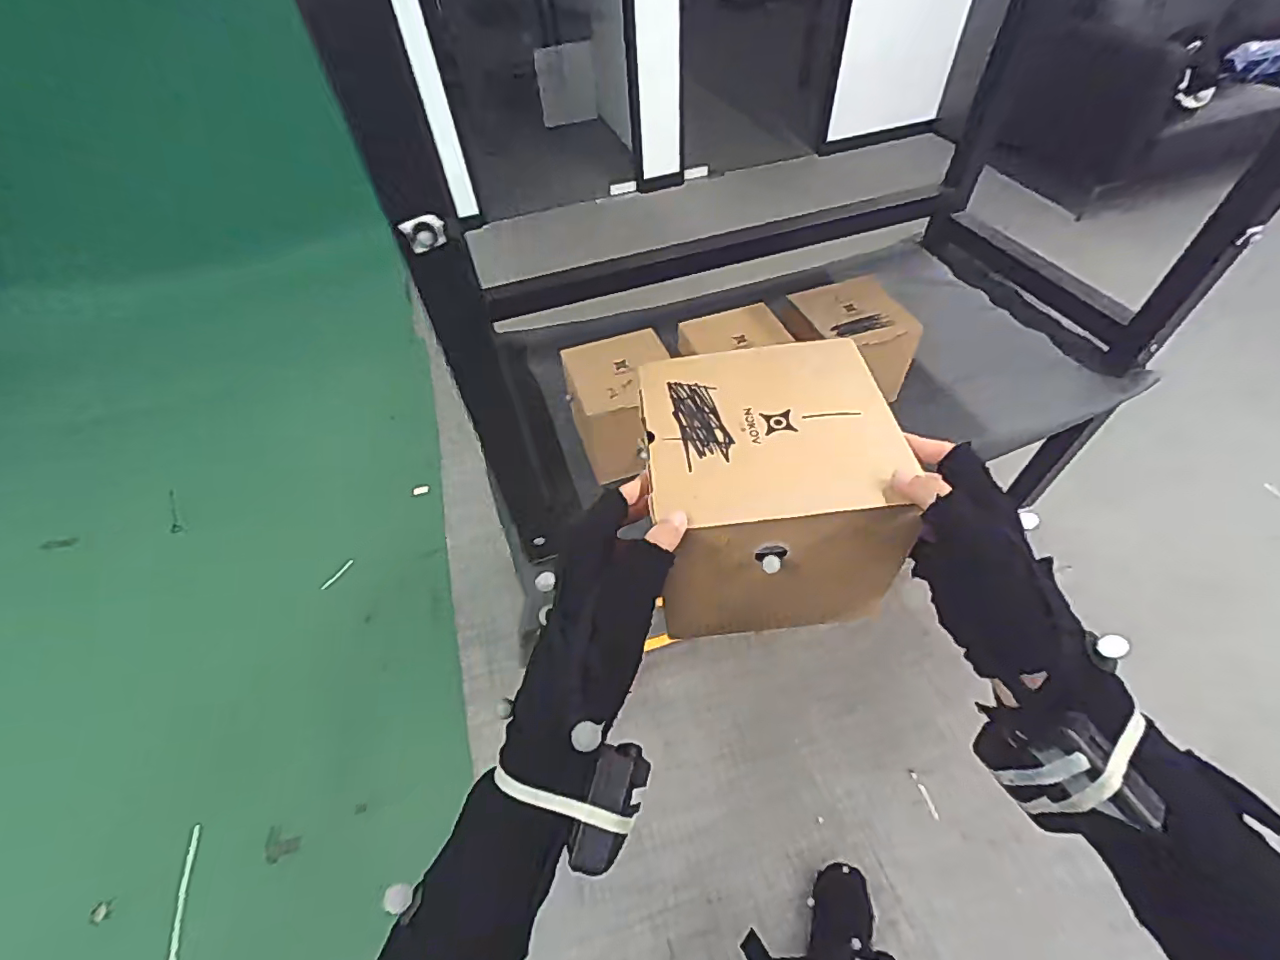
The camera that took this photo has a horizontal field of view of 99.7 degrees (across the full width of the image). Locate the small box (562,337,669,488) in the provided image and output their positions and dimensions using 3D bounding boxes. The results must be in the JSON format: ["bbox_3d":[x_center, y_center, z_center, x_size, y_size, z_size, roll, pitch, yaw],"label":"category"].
[{"bbox_3d":[-0.027,-0.116,0.938,0.168,0.176,0.179,-17,51,-9],"label":"small box"}]

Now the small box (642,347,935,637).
[{"bbox_3d":[0.100,0.016,0.445,0.179,0.176,0.168,-6,50,1],"label":"small box"}]
